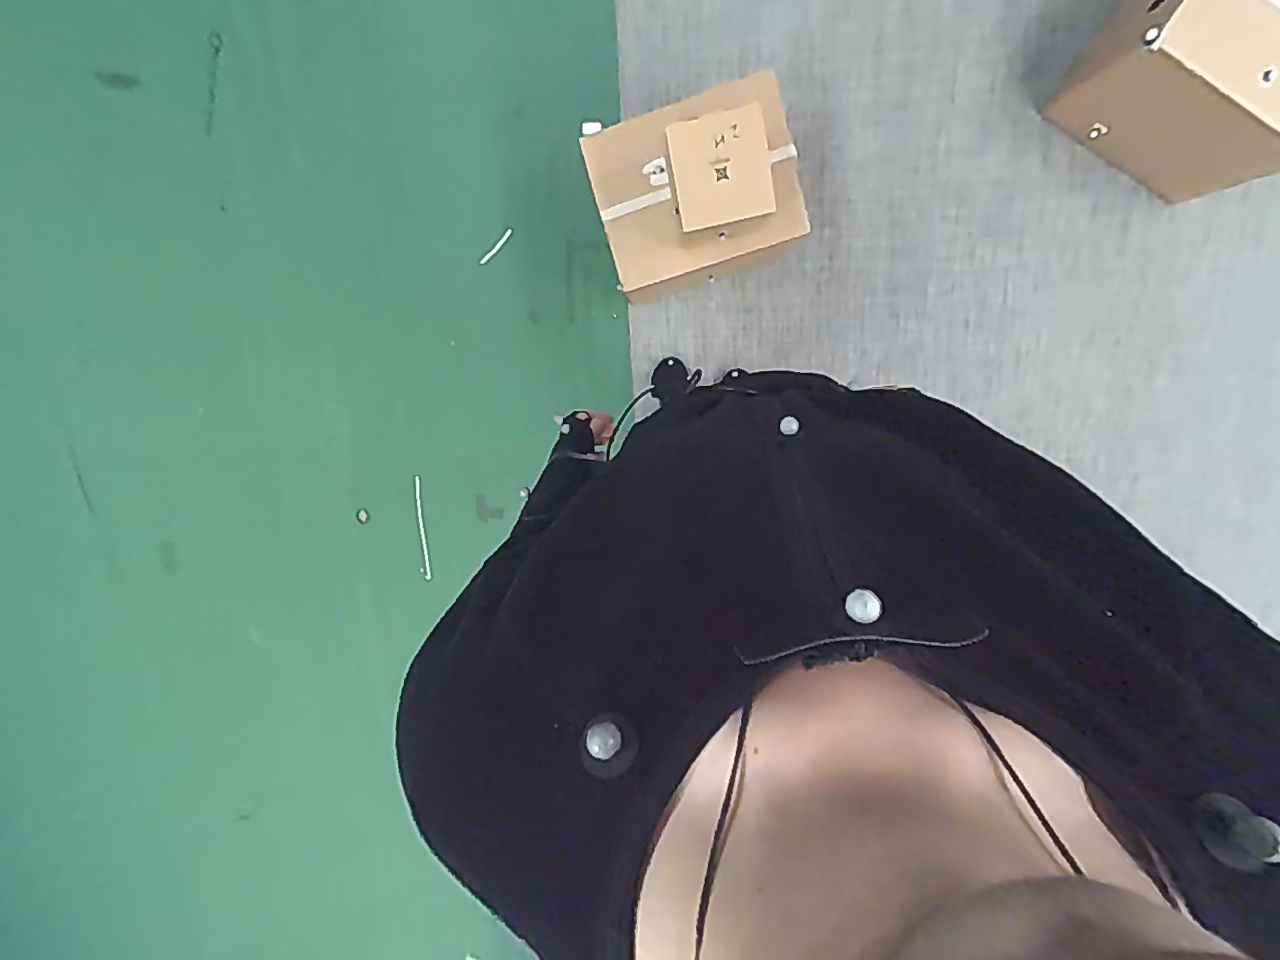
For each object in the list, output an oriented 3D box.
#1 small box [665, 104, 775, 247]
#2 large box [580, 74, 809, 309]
[{"bbox_3d":[0.141,-0.542,0.992,0.168,0.176,0.179,-11,101,4],"label":"small box"},{"bbox_3d":[0.120,-0.614,1.231,0.408,0.320,0.320,-16,99,7],"label":"large box"}]
